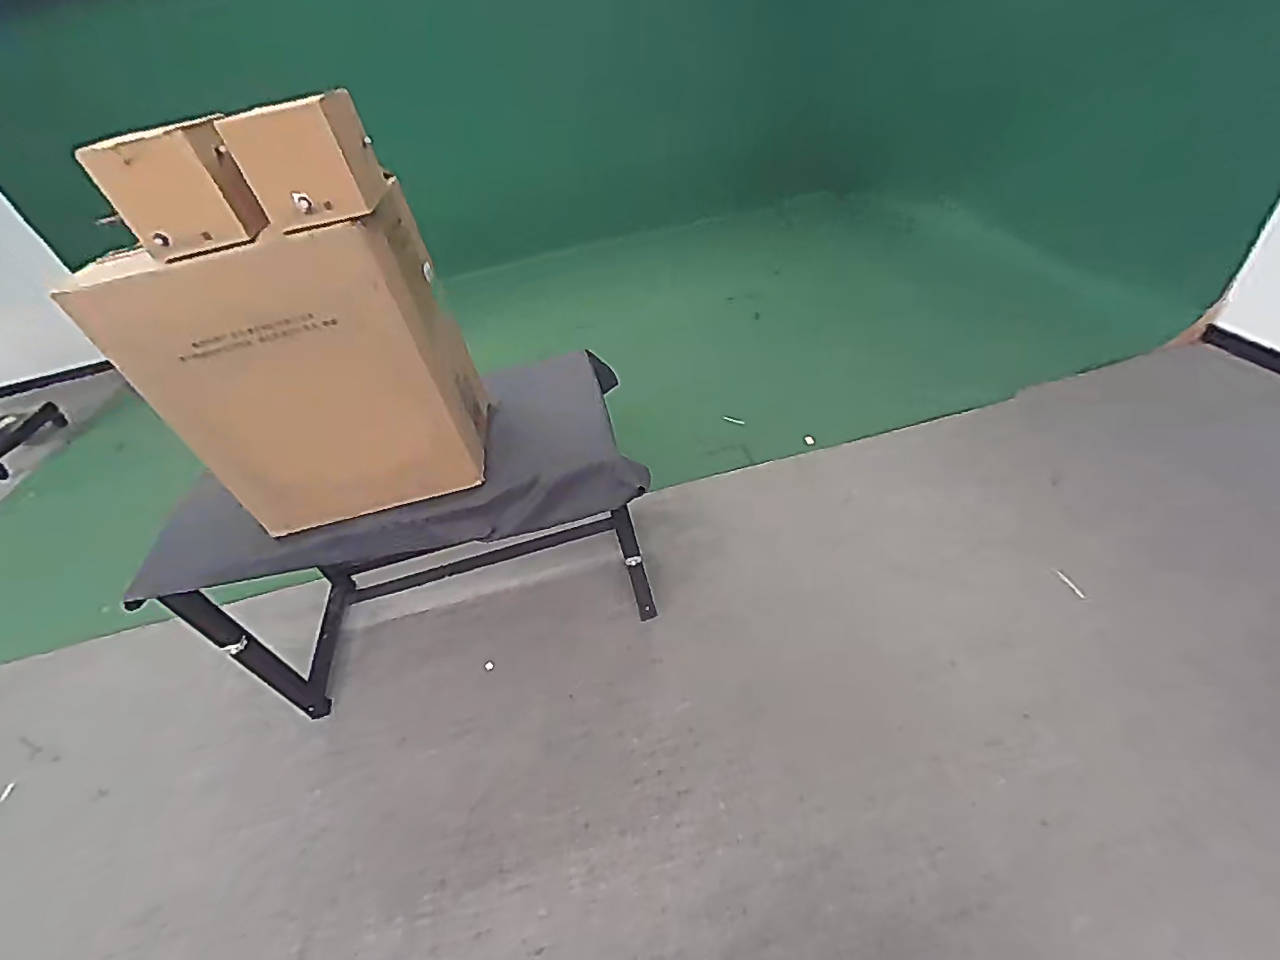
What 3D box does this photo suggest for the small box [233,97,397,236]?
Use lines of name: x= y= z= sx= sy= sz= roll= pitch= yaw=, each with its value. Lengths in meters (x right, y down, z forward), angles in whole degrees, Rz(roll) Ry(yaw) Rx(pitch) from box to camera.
small box: x=-0.553 y=-0.551 z=0.953 sx=0.168 sy=0.176 sz=0.179 roll=-14 pitch=42 yaw=-1
